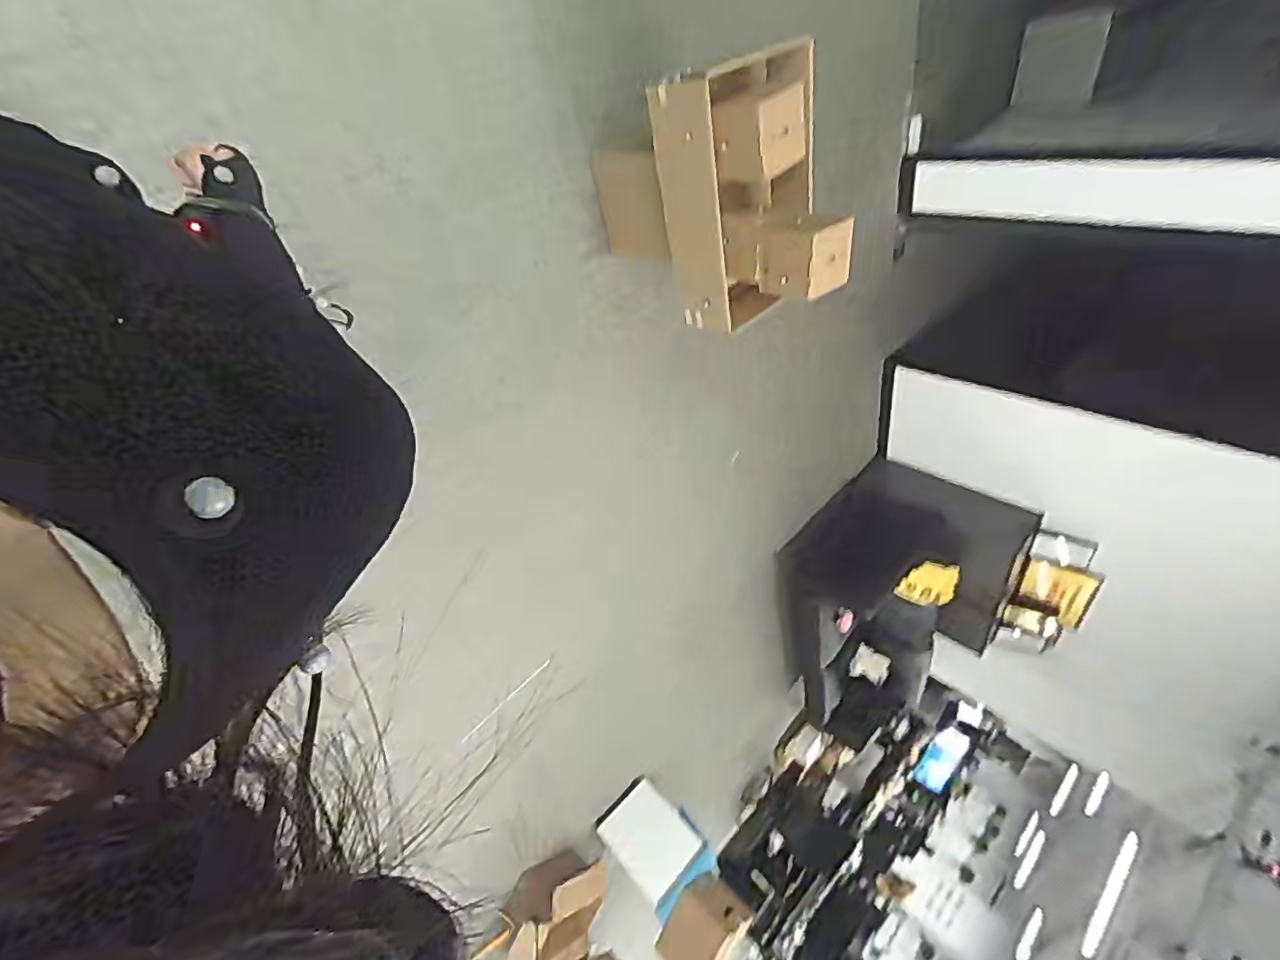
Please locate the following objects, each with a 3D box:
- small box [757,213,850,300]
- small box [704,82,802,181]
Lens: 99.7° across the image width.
[{"bbox_3d":[0.425,-0.593,1.426,0.179,0.176,0.168,-33,134,-29],"label":"small box"},{"bbox_3d":[0.287,-0.877,1.362,0.179,0.176,0.168,-40,136,-22],"label":"small box"}]
